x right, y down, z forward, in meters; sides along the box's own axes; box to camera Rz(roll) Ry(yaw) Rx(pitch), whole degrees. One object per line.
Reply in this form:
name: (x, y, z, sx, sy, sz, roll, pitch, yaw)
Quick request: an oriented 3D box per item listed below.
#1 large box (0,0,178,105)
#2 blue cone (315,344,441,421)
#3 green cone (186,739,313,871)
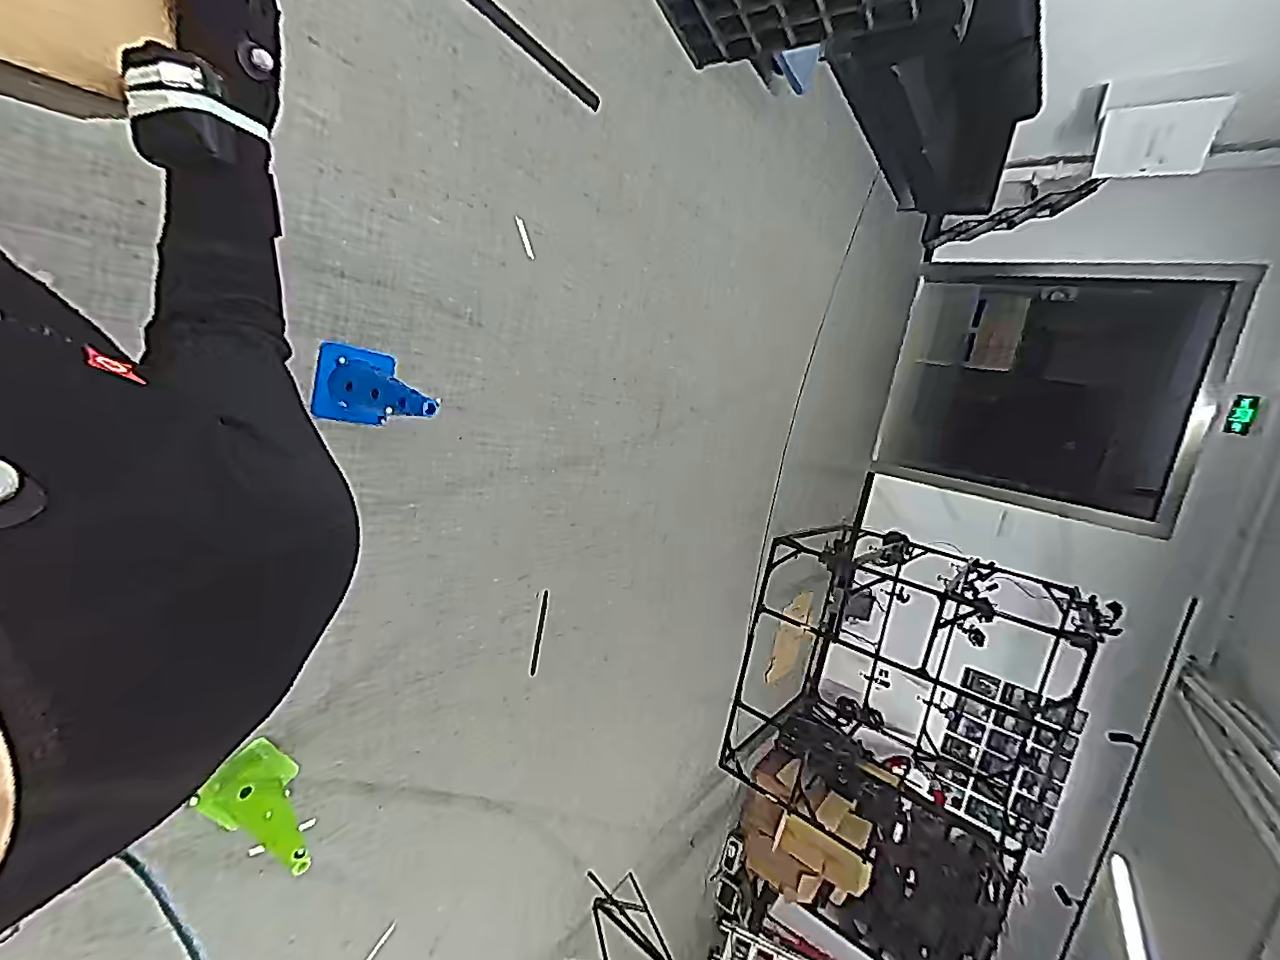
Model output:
large box: (-0.539, -0.449, 0.272, 0.408, 0.320, 0.320, -9, 119, -54)
blue cone: (-0.635, -0.217, 1.362, 0.192, 0.380, 0.193, 6, 99, -56)
green cone: (-0.942, 0.872, 1.379, 0.202, 0.368, 0.200, -46, 138, -35)
